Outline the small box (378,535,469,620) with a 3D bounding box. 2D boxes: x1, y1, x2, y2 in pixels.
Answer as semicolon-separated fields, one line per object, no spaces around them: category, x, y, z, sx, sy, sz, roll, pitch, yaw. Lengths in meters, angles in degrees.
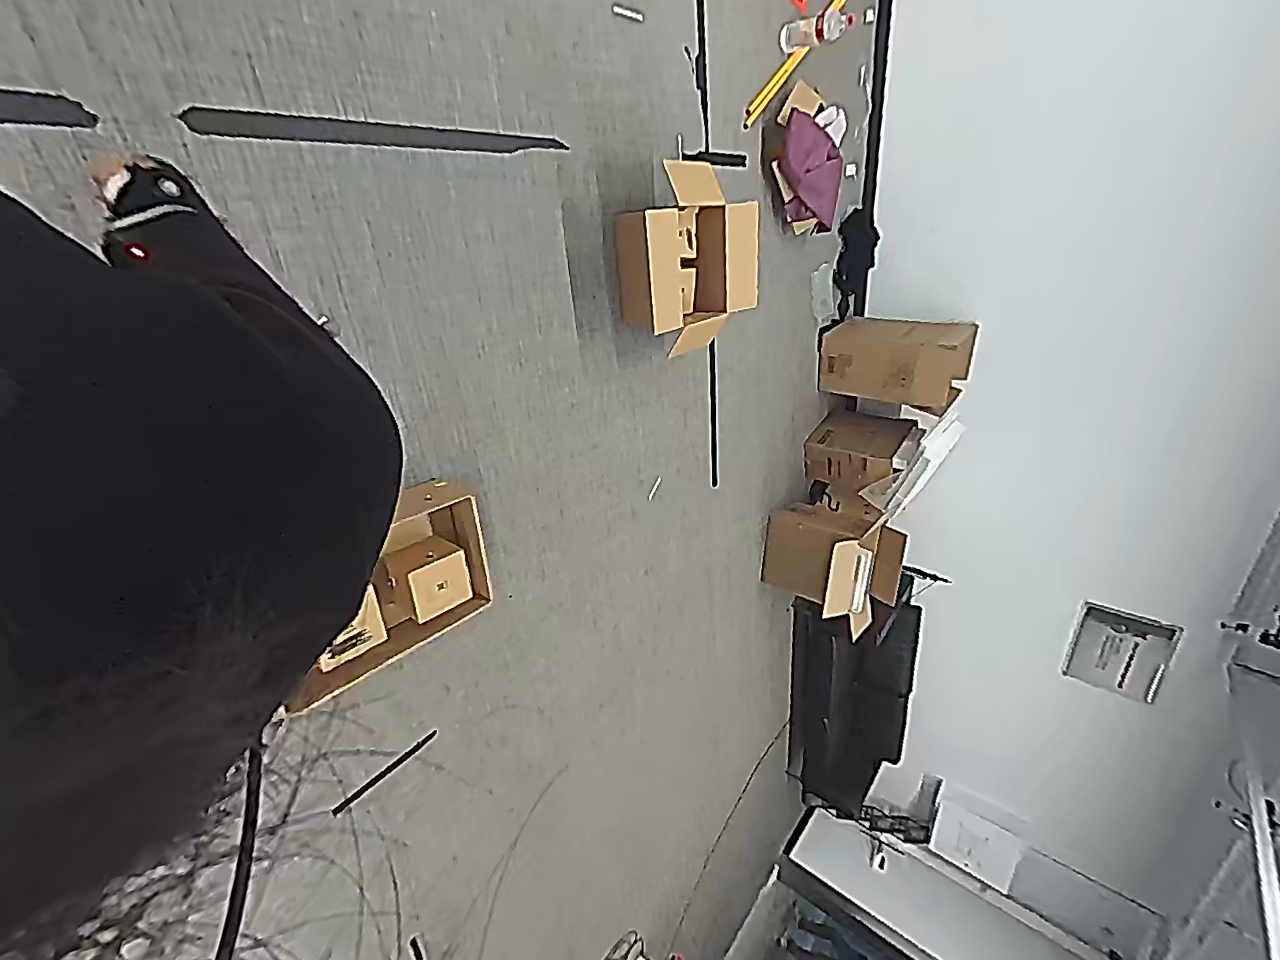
small box;-0.641;0.279;1.604;0.179;0.176;0.168;-25;119;-43
